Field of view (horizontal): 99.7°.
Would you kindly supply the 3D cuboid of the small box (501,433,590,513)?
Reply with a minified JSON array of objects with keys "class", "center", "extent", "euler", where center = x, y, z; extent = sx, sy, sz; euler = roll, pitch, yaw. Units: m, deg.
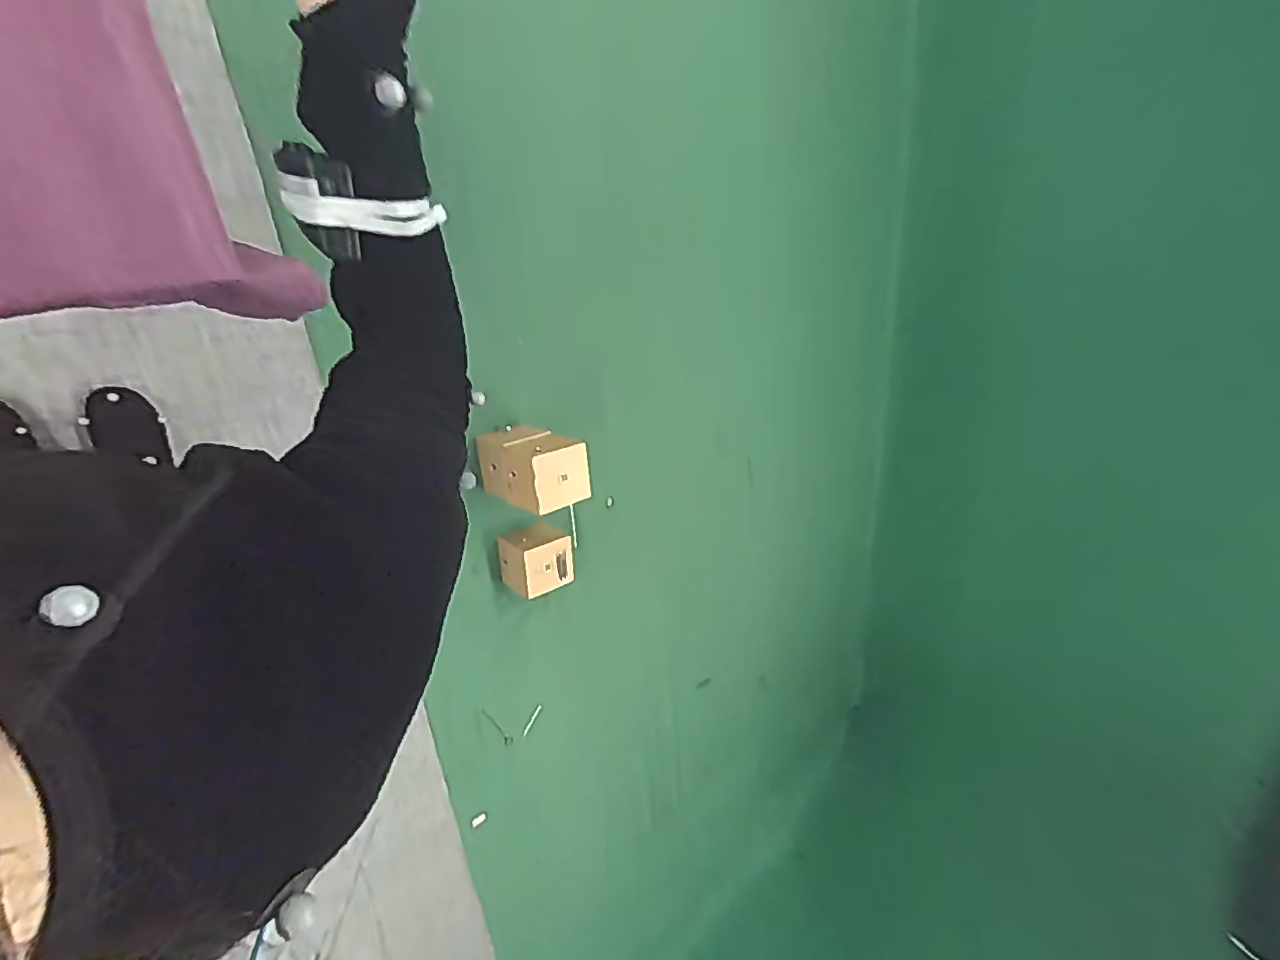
[{"class":"small box","center":[-0.264,-0.027,1.516],"extent":[0.179,0.176,0.168],"euler":[-21,116,-38]}]

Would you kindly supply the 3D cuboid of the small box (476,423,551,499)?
[{"class":"small box","center":[-0.373,-0.063,1.633],"extent":[0.168,0.176,0.179],"euler":[-21,115,-38]}]
